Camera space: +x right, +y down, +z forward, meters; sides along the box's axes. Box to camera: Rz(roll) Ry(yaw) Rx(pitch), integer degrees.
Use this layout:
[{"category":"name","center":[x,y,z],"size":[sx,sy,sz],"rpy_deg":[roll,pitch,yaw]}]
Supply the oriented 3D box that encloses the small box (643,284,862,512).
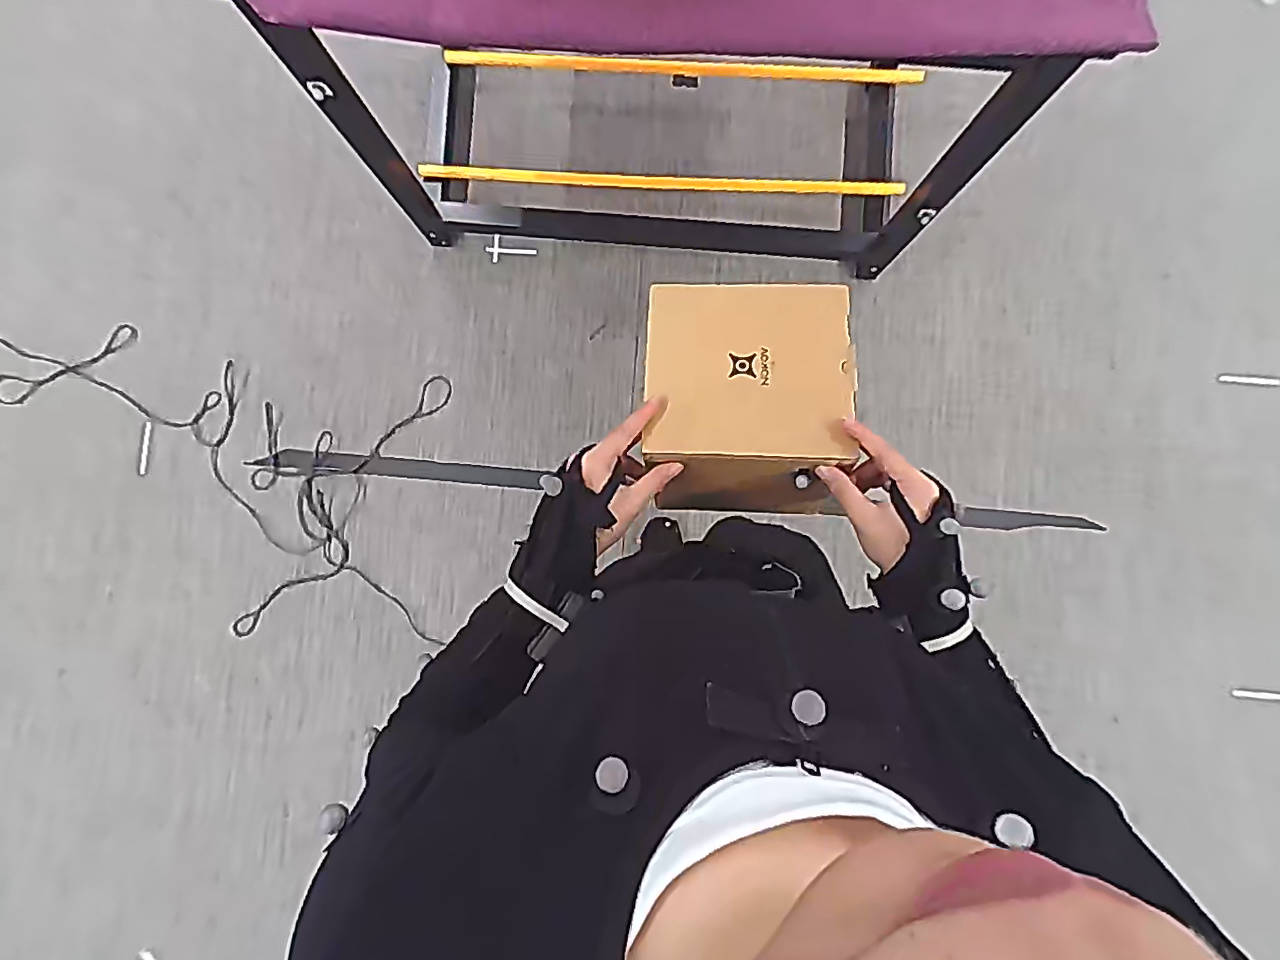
[{"category":"small box","center":[0.100,-0.070,0.531],"size":[0.179,0.176,0.168],"rpy_deg":[2,72,5]}]
